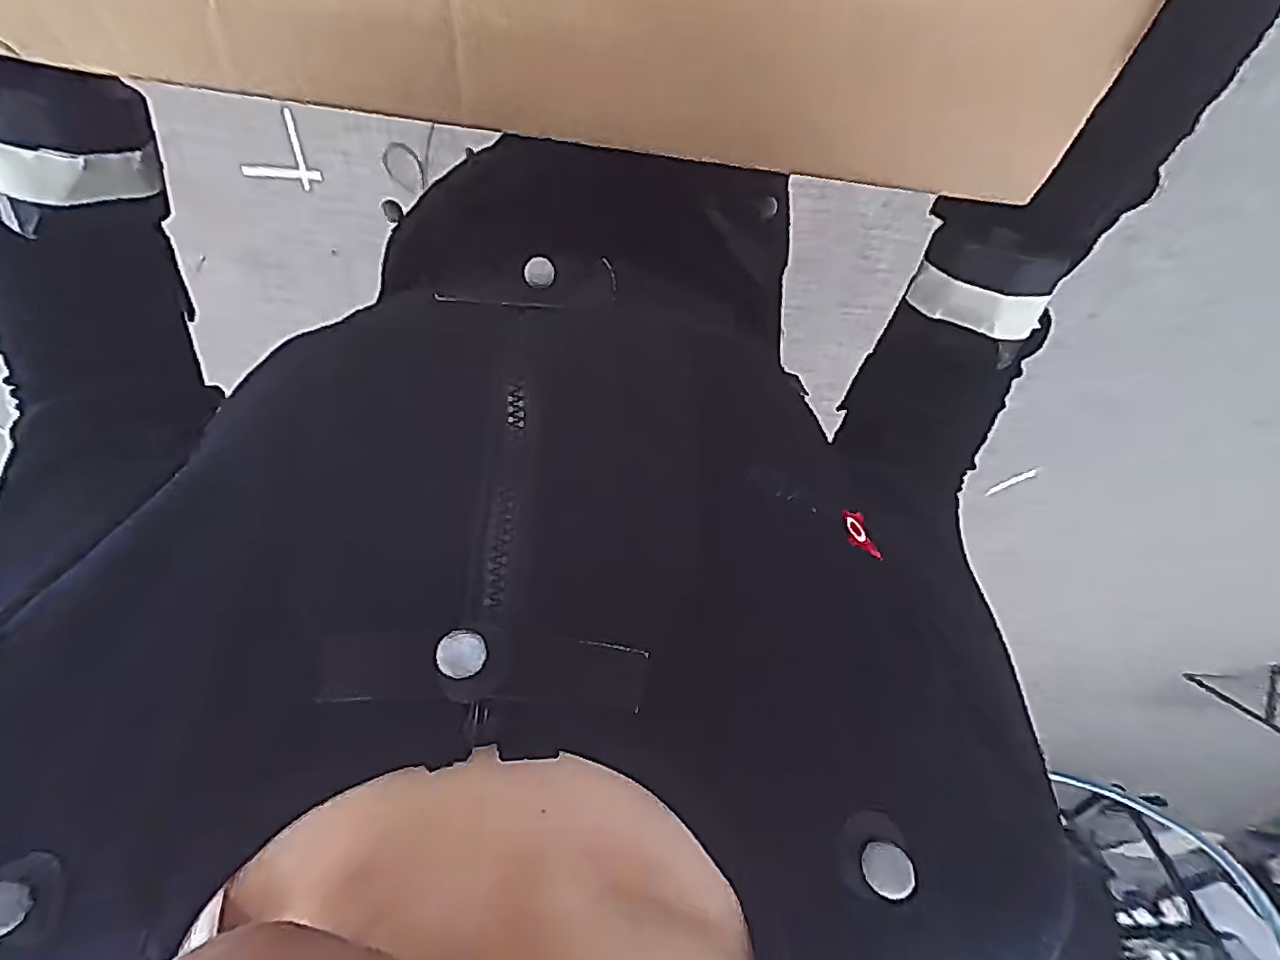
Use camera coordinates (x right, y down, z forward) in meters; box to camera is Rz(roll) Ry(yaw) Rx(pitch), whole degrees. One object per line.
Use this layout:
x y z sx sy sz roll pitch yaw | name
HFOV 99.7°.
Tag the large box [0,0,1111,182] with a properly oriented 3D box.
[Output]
-0.016 -0.356 0.197 0.408 0.320 0.320 4 141 -6 | large box
